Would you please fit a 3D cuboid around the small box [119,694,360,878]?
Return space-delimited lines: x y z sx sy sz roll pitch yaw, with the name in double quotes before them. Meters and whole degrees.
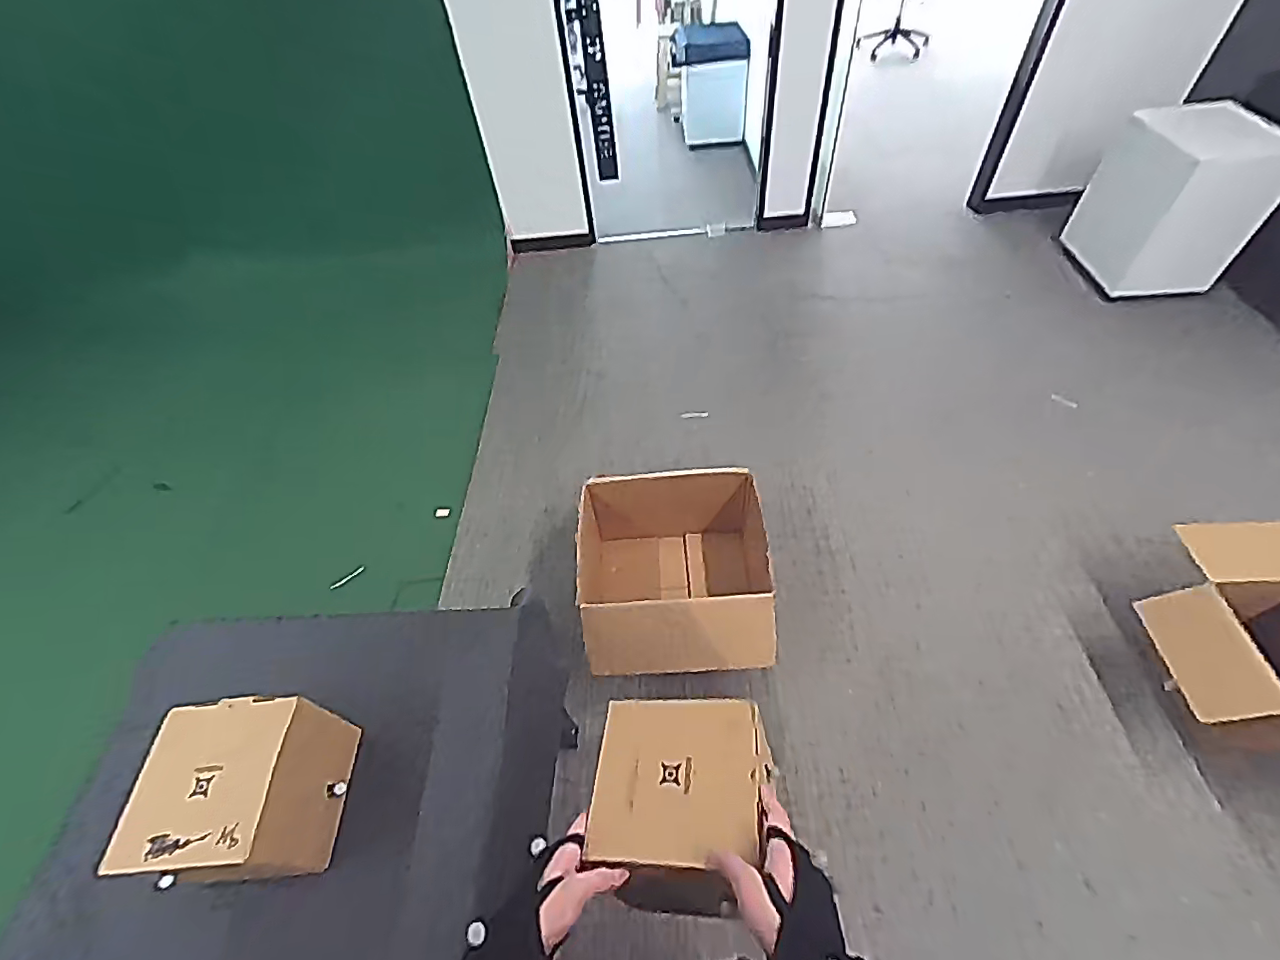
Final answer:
"small box" -0.495 0.402 0.707 0.168 0.176 0.179 -6 52 -1

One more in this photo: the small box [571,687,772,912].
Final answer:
"small box" 0.049 0.349 0.596 0.179 0.176 0.168 -8 36 15
